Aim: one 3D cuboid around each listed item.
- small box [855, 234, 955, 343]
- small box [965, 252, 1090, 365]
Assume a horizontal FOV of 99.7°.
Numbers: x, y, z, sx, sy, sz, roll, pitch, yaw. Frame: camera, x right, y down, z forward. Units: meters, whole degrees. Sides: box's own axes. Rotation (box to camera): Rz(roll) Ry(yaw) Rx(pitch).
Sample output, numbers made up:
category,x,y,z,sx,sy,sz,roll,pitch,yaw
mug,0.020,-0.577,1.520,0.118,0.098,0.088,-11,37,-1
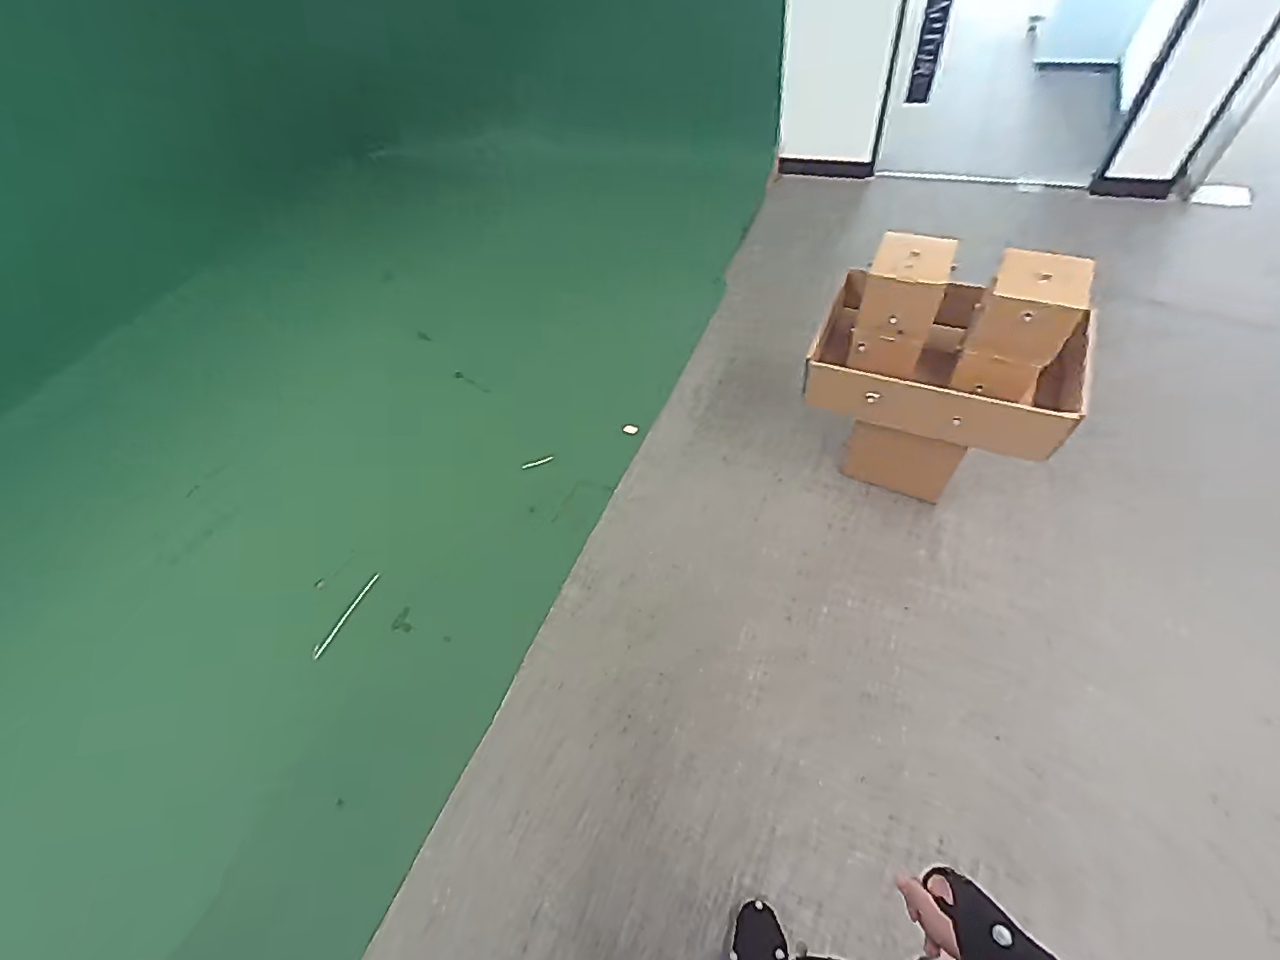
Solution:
category,x,y,z,sx,sy,sz,roll,pitch,yaw
small box,0.642,-0.468,1.323,0.168,0.176,0.179,18,61,20
small box,0.875,-0.388,1.235,0.179,0.176,0.168,20,63,20
